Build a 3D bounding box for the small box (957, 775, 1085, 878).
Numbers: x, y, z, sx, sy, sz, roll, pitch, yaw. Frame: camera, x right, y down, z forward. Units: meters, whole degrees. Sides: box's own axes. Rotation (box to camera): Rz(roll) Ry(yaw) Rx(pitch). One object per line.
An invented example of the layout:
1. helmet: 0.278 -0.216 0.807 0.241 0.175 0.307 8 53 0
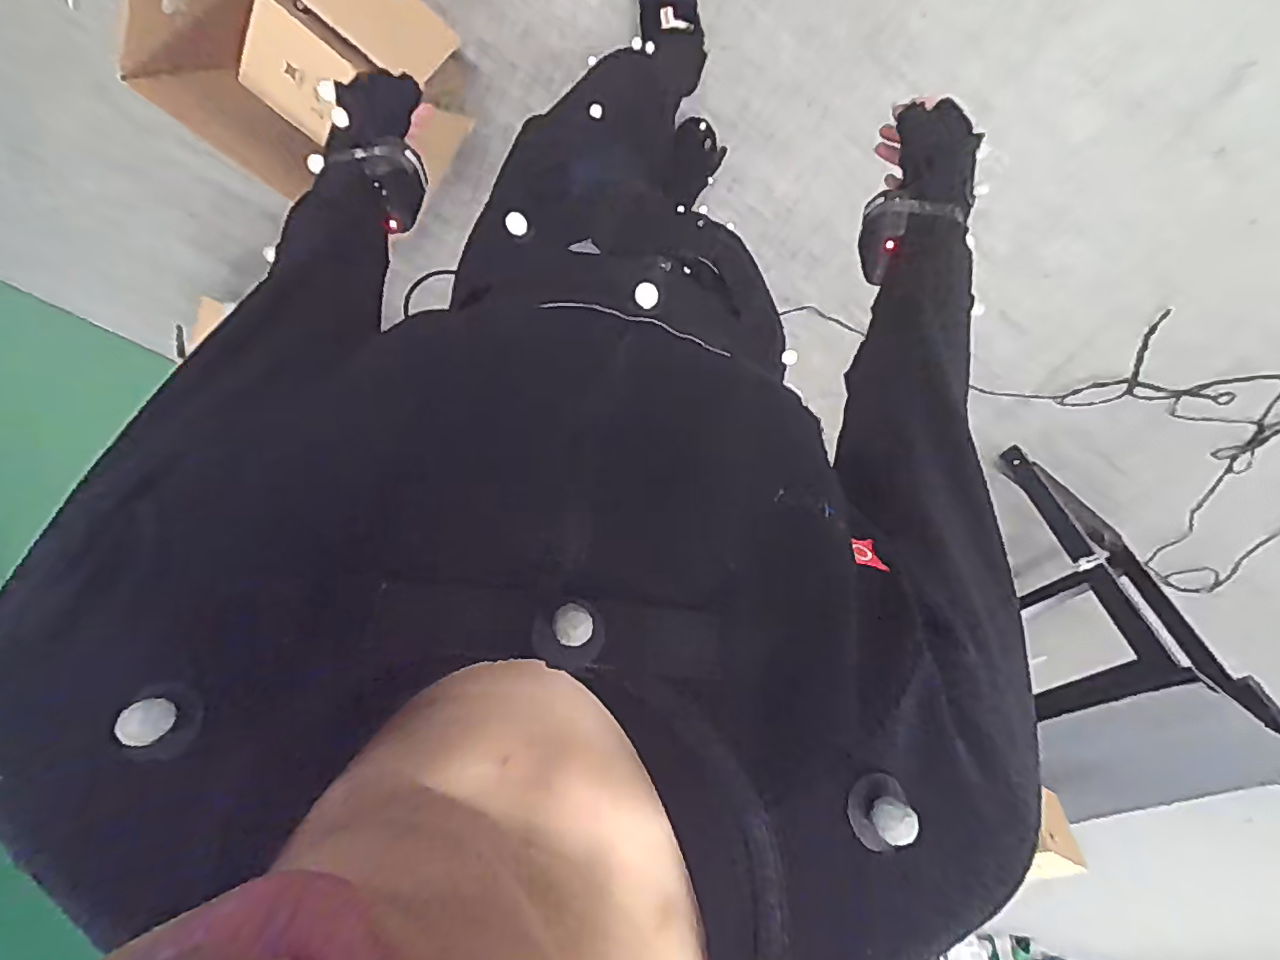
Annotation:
1. small box: 0.932 0.855 1.336 0.179 0.176 0.168 32 127 -19
